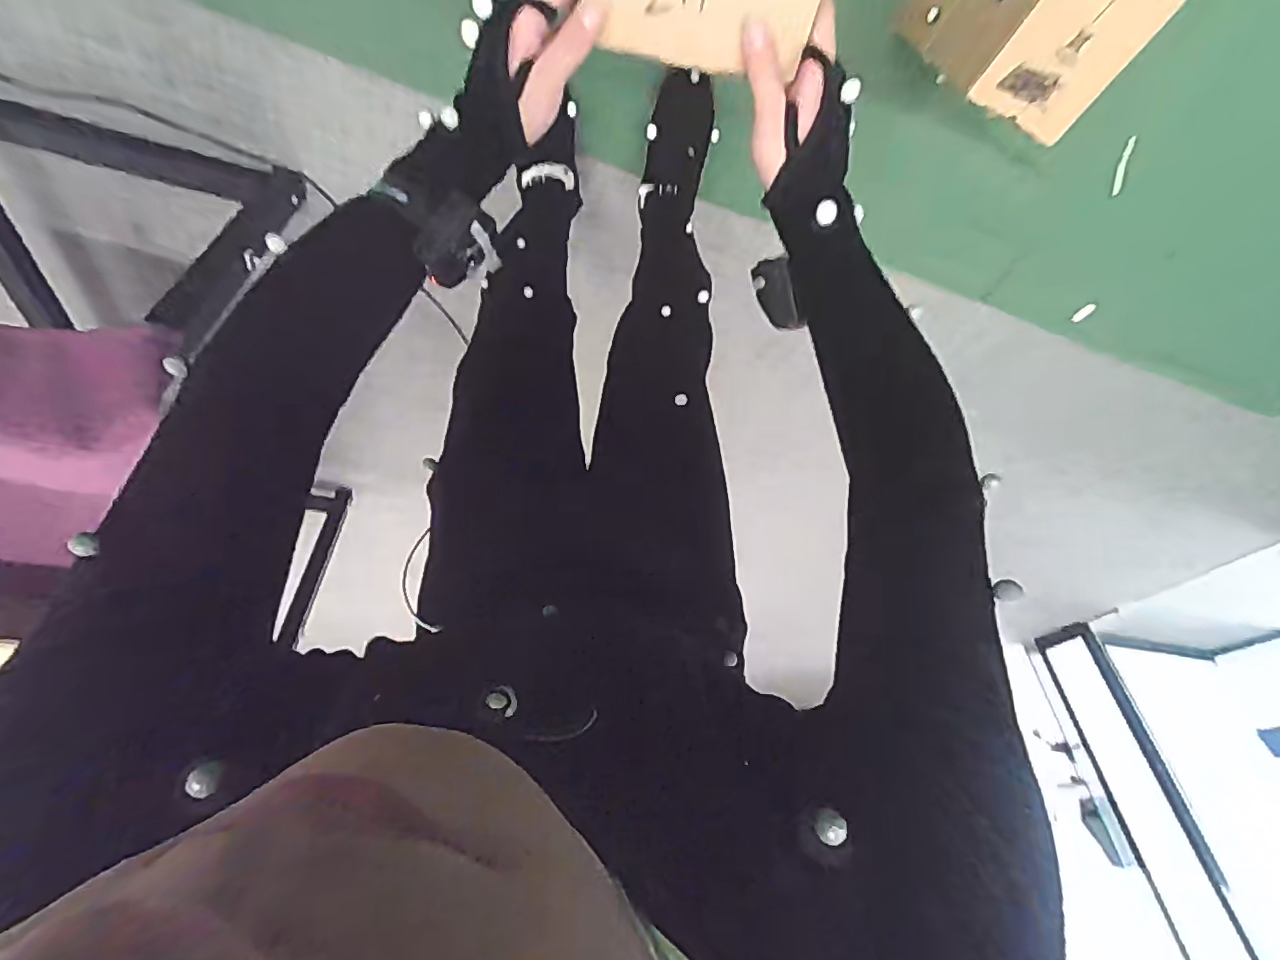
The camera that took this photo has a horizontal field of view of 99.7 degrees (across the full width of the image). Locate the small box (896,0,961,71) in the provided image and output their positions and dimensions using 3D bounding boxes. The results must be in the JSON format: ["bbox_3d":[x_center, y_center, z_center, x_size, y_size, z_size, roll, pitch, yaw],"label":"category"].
[{"bbox_3d":[0.525,-0.723,0.817,0.168,0.176,0.179,12,141,-18],"label":"small box"}]

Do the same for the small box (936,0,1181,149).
[{"bbox_3d":[0.528,-0.593,0.717,0.168,0.176,0.179,13,140,-19],"label":"small box"}]

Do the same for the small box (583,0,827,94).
[{"bbox_3d":[0.054,-0.418,0.387,0.168,0.176,0.179,7,140,-7],"label":"small box"}]
